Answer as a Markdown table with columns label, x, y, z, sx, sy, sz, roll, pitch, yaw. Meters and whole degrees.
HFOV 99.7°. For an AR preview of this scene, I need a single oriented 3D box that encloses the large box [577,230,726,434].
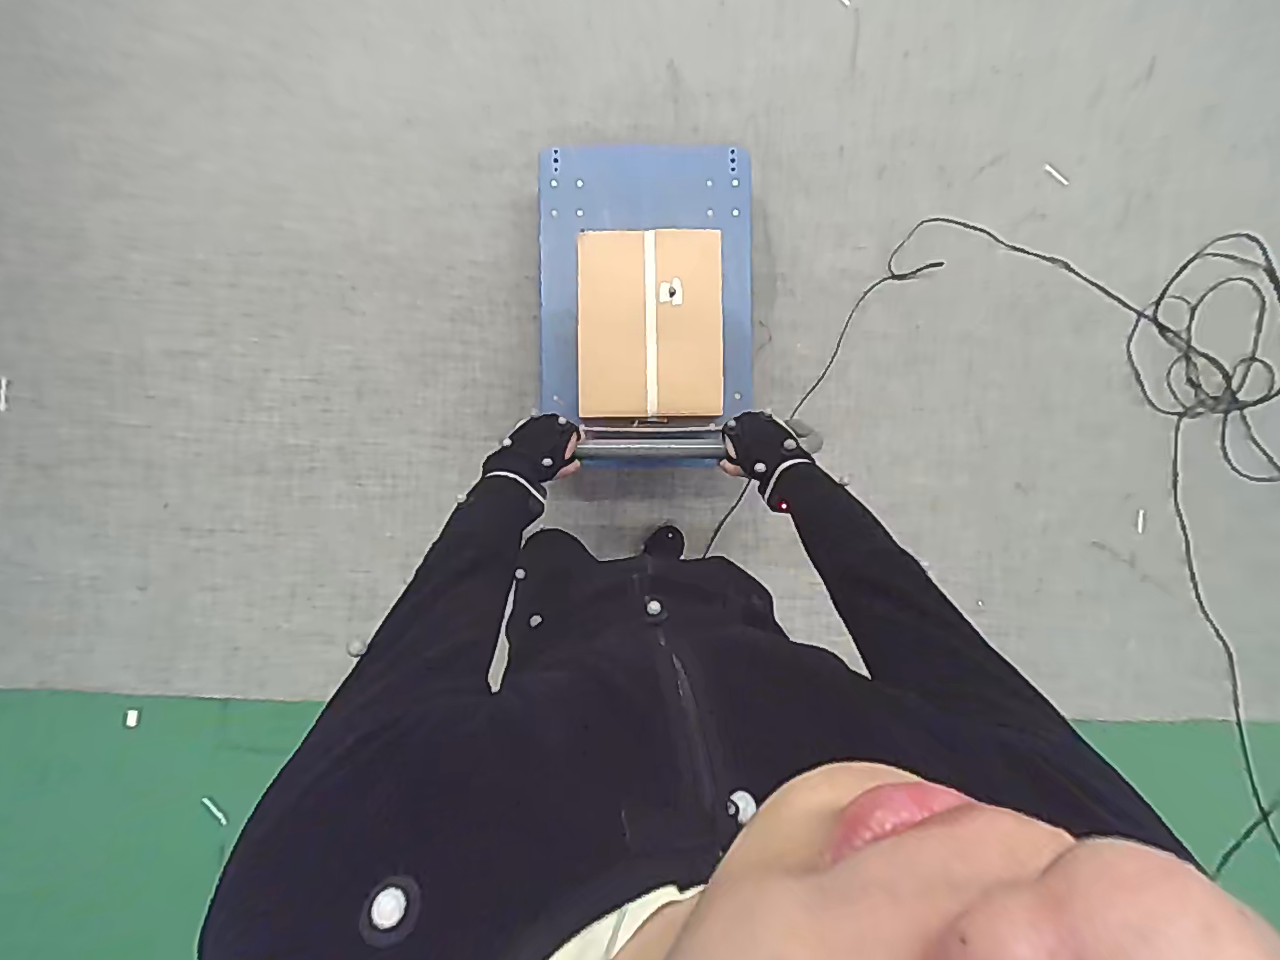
| label | x | y | z | sx | sy | sz | roll | pitch | yaw |
| --- | --- | --- | --- | --- | --- | --- | --- | --- | --- |
| large box | 0.024 | -0.330 | 1.304 | 0.320 | 0.320 | 0.408 | -1 | 89 | -1 |
